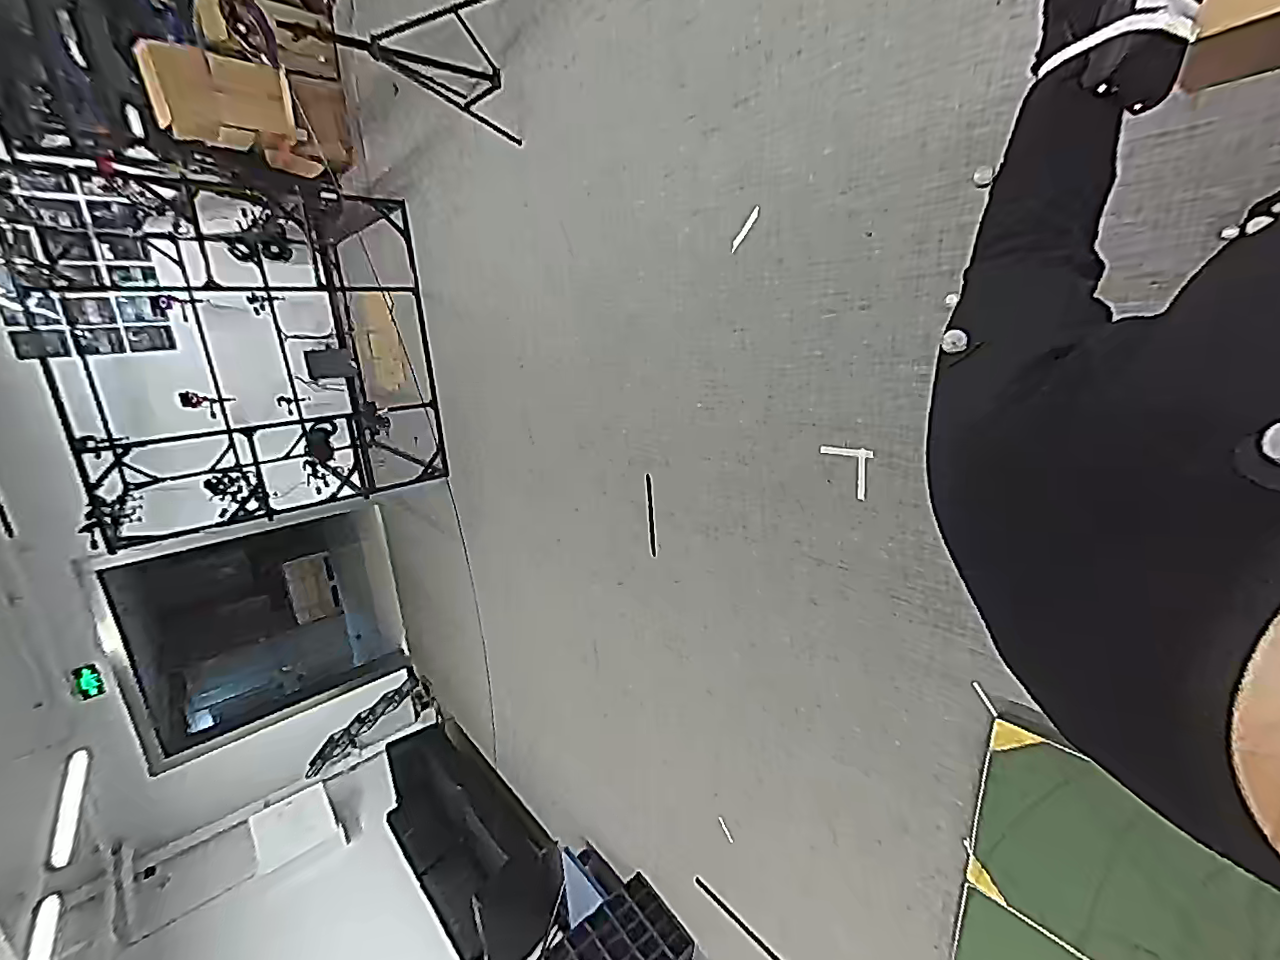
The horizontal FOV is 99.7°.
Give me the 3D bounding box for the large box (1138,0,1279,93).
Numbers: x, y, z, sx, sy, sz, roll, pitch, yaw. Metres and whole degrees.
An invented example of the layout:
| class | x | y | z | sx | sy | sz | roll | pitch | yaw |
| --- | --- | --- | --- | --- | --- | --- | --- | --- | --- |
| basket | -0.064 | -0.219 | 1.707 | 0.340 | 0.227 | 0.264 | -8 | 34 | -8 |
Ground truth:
| class | x | y | z | sx | sy | sz | roll | pitch | yaw |
| --- | --- | --- | --- | --- | --- | --- | --- | --- | --- |
| large box | 0.600 | -0.500 | 0.322 | 0.408 | 0.320 | 0.320 | 11 | 118 | 47 |
